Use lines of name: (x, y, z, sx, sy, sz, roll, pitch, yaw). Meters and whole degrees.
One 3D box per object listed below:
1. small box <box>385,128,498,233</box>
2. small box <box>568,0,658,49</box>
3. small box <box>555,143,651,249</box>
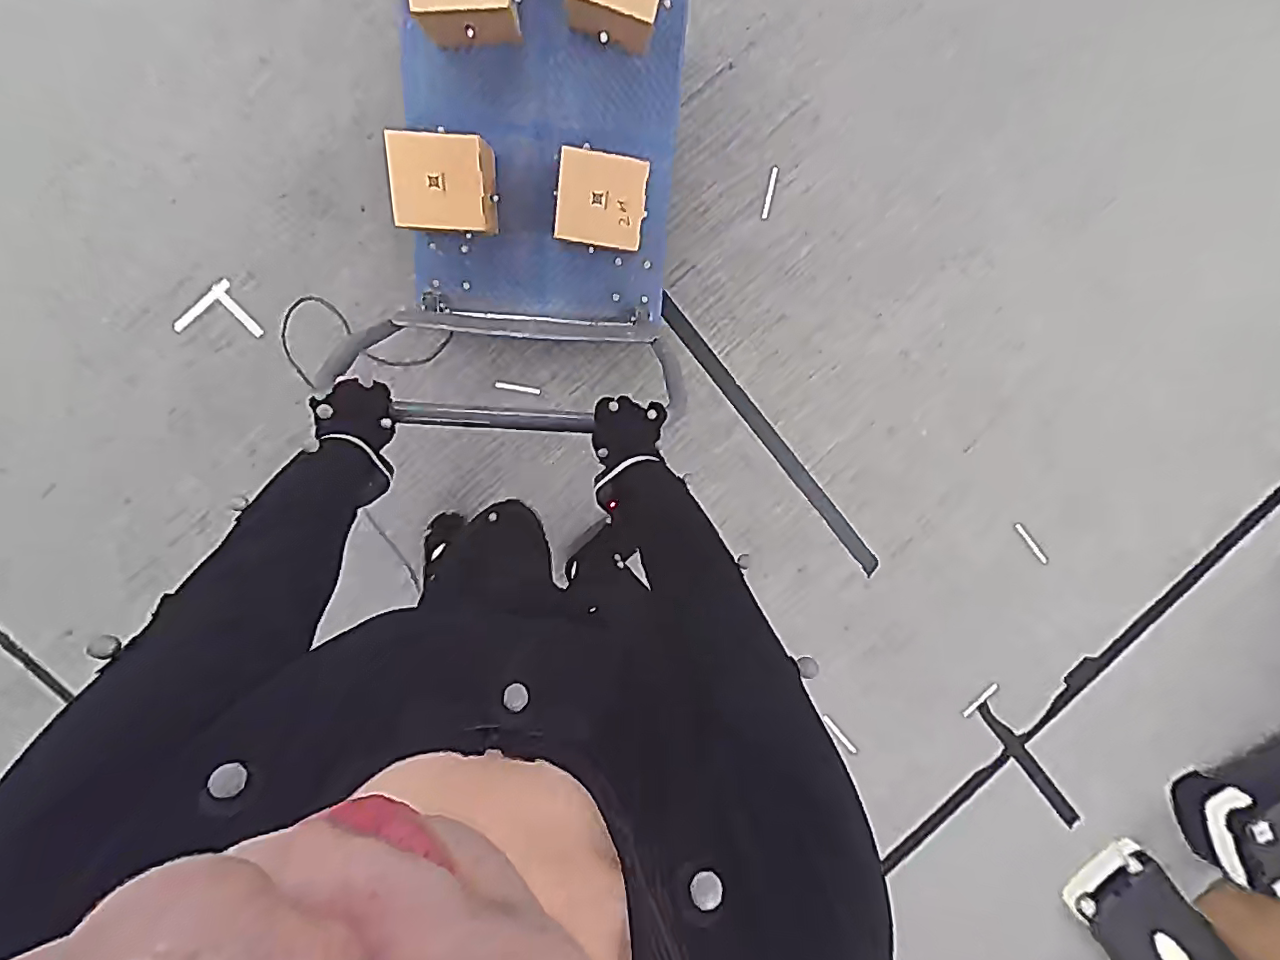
small box: (-0.397, -0.603, 1.107, 0.179, 0.176, 0.168, -1, 112, -7)
small box: (-0.039, -0.951, 1.000, 0.168, 0.176, 0.179, 12, 111, -10)
small box: (-0.081, -0.588, 1.142, 0.179, 0.176, 0.168, 6, 111, -8)
